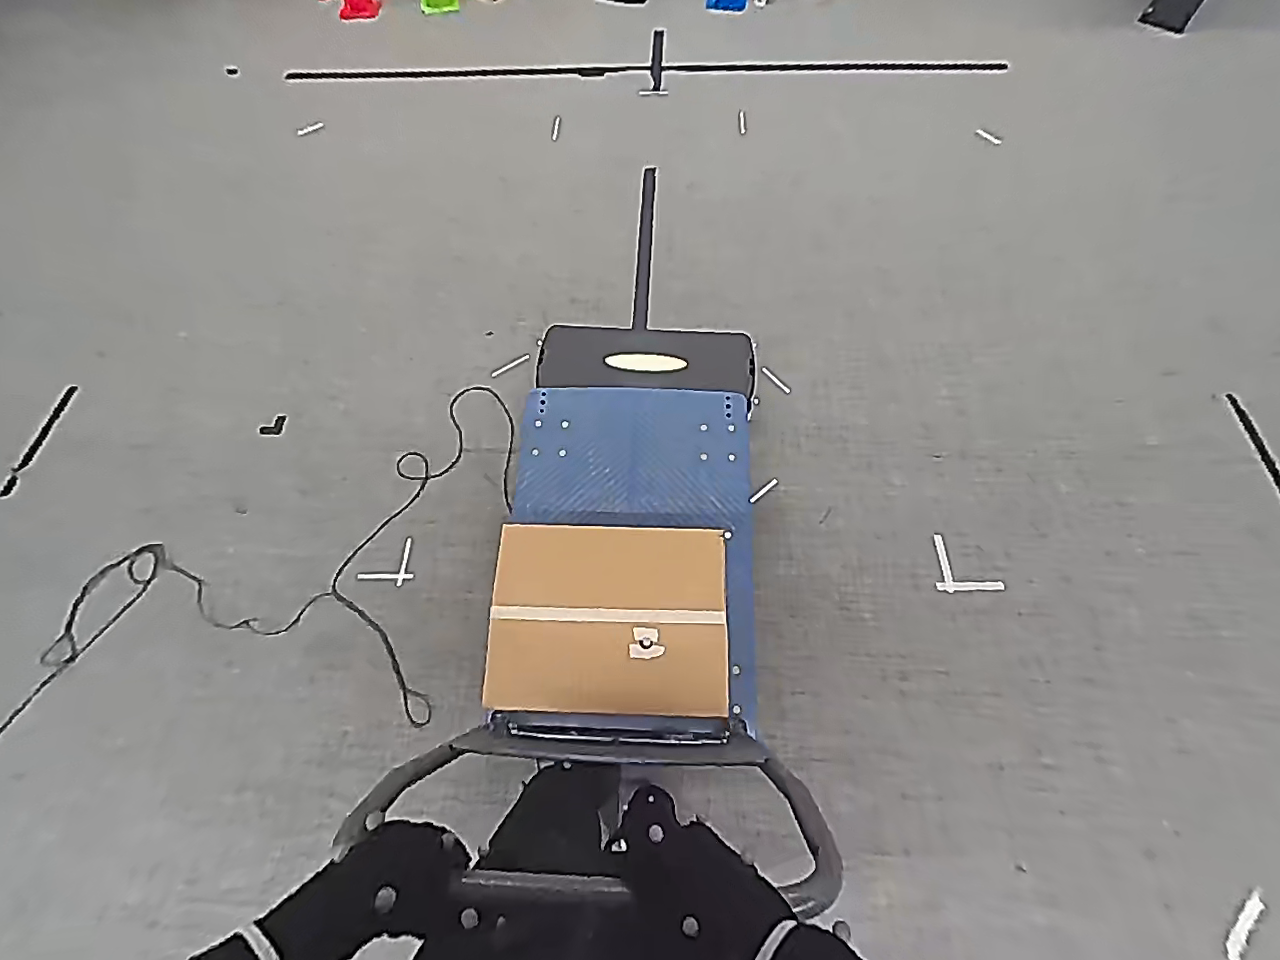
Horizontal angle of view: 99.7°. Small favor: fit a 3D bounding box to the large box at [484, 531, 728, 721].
[{"bbox_3d":[-0.055,0.291,1.060,0.408,0.320,0.320,1,71,1],"label":"large box"}]
